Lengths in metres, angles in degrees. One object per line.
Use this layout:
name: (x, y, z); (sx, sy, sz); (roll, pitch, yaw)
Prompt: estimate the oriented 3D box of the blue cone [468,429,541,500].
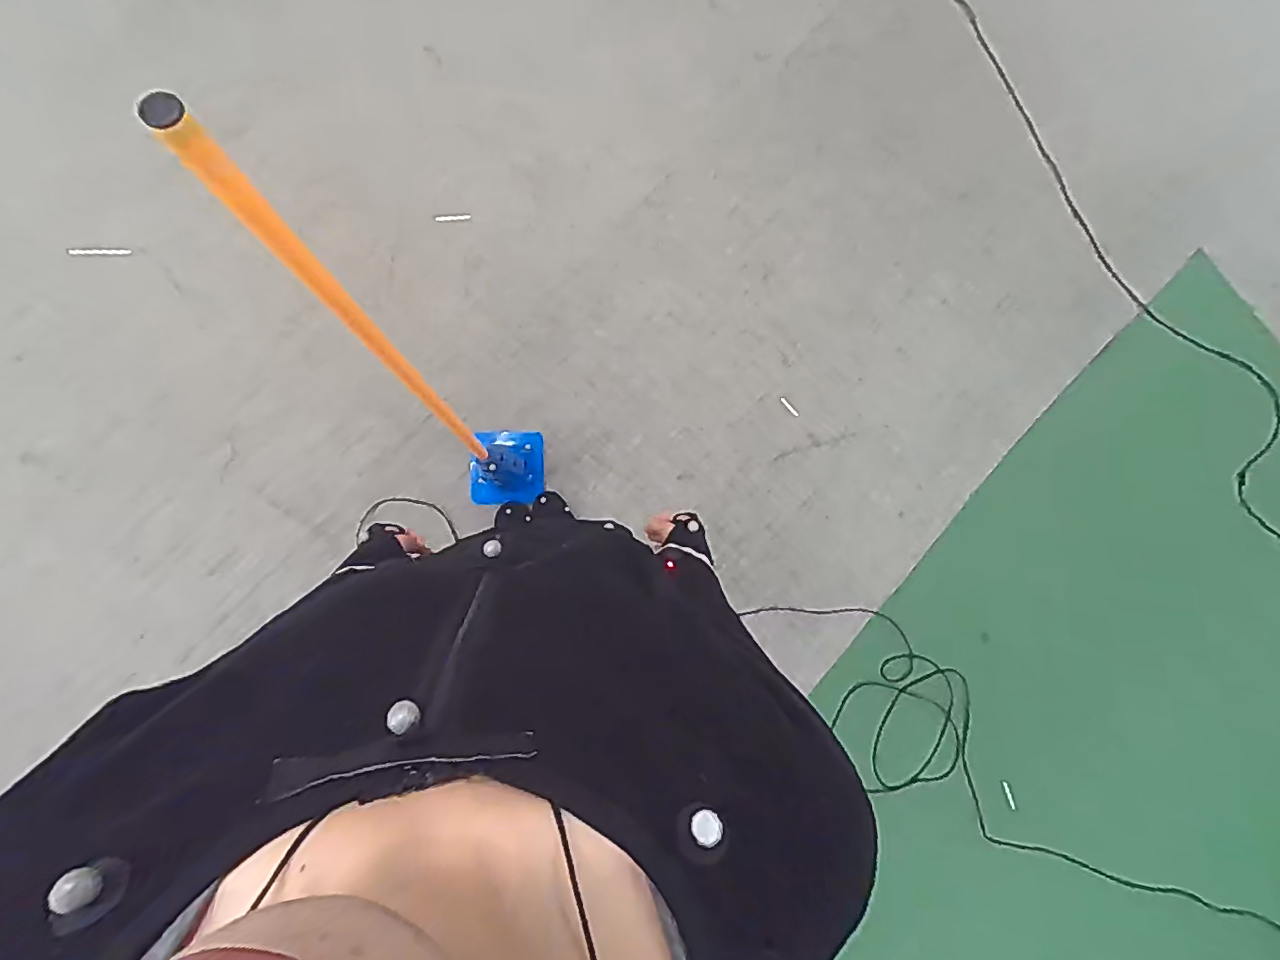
blue cone: (-0.350, -0.054, 1.303); (0.192, 0.380, 0.193); (-2, 86, -6)
